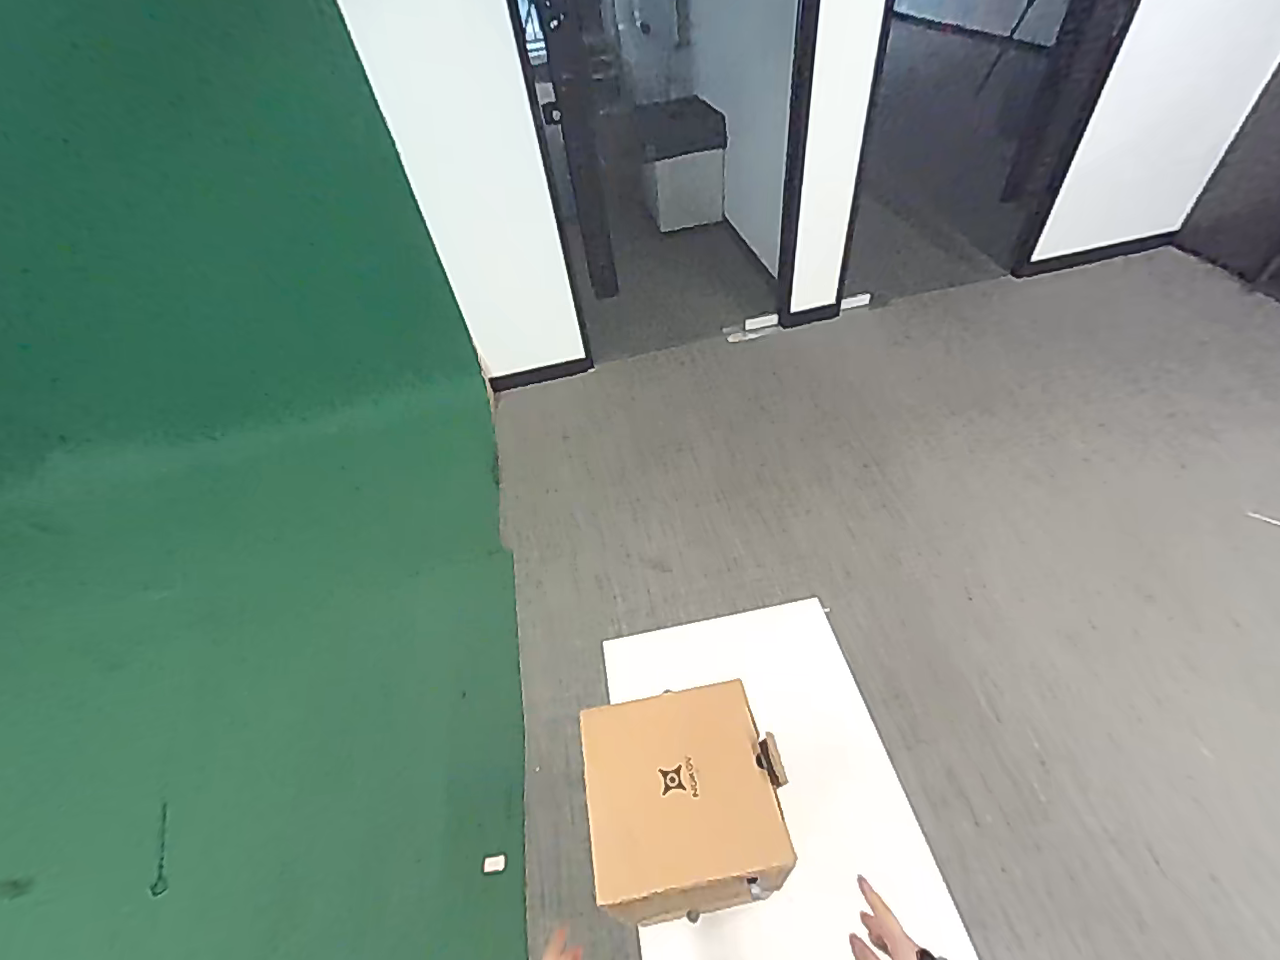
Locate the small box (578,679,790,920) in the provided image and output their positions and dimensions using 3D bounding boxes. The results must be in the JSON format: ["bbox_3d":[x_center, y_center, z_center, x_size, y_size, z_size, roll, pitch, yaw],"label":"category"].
[{"bbox_3d":[0.041,0.337,0.568,0.179,0.176,0.168,-10,46,-3],"label":"small box"}]
